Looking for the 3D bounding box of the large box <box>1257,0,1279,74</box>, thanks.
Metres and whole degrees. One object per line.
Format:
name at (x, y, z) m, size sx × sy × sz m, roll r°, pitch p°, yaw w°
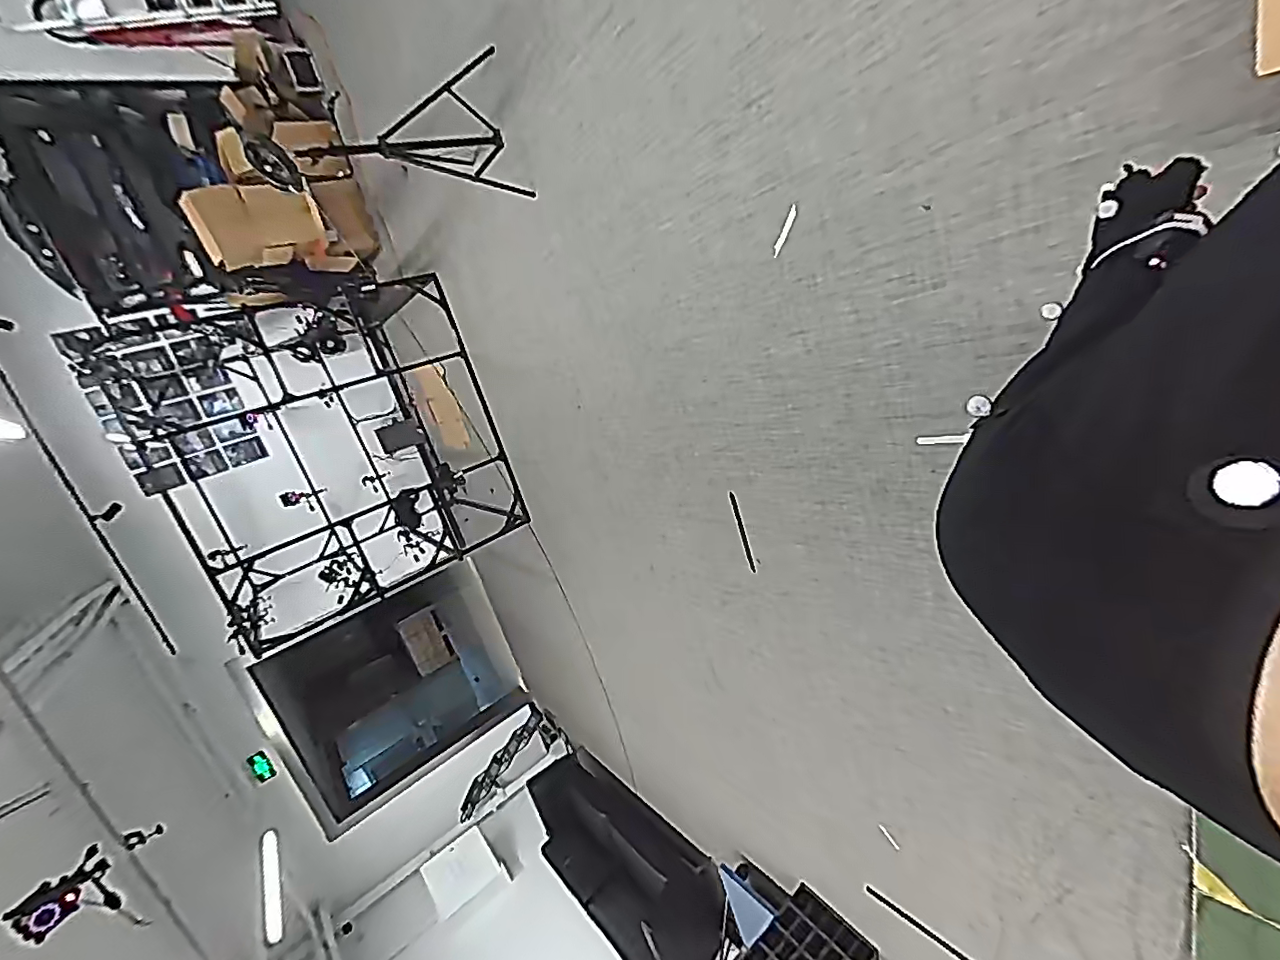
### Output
large box at (1.008, -0.731, 0.603) m, size 0.408 × 0.320 × 0.320 m, roll 5°, pitch 118°, yaw 53°
